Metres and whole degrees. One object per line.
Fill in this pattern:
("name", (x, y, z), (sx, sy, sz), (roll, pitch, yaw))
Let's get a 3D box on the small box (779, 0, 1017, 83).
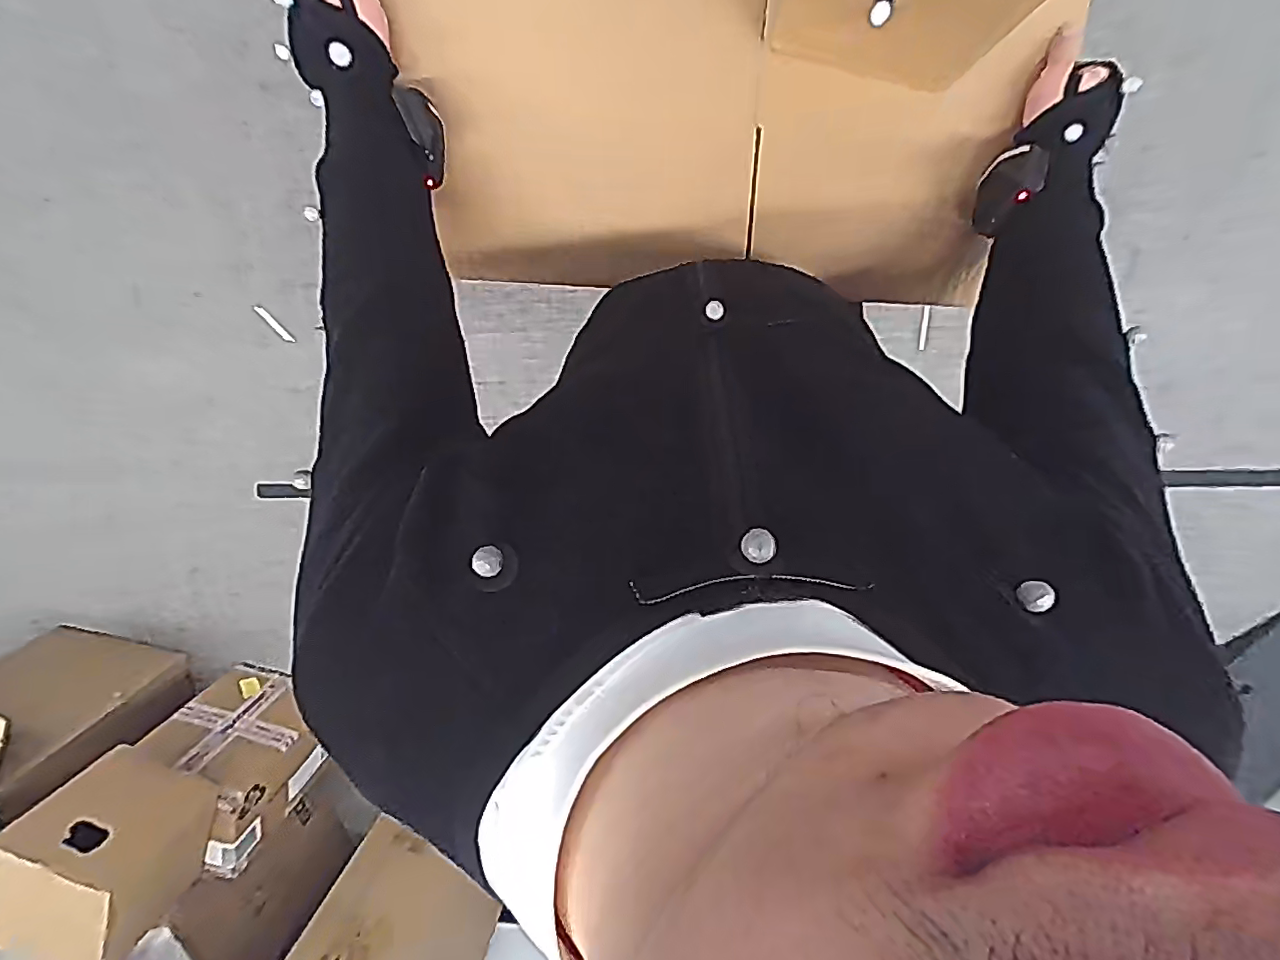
("small box", (0.227, -0.459, 0.430), (0.179, 0.176, 0.168), (13, 103, -1))
